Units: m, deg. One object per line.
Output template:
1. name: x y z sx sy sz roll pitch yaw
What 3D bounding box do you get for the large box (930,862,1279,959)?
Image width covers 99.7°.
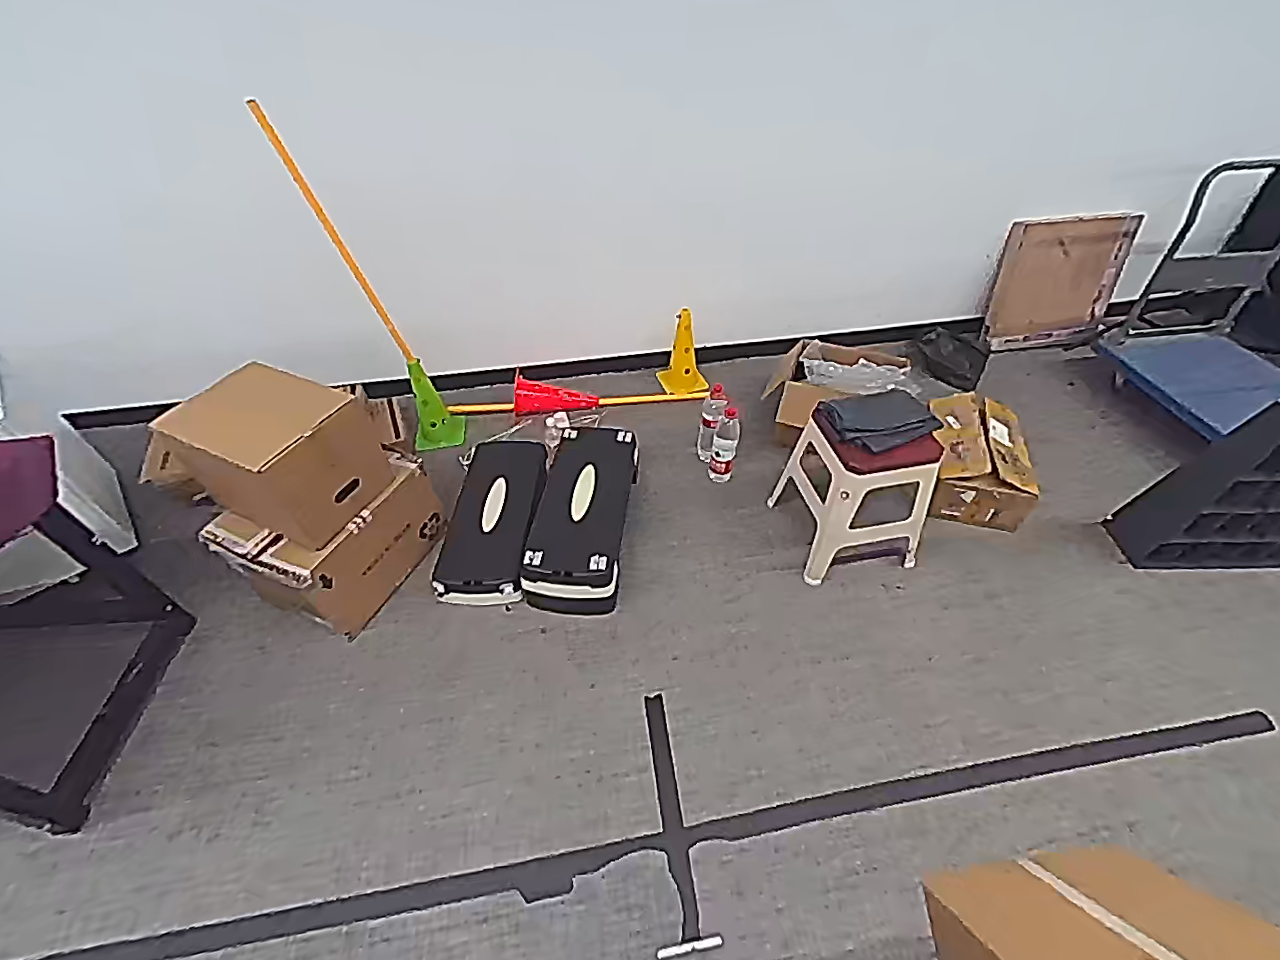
1. large box: 0.598 0.694 0.585 0.320 0.408 0.320 -7 78 -2
